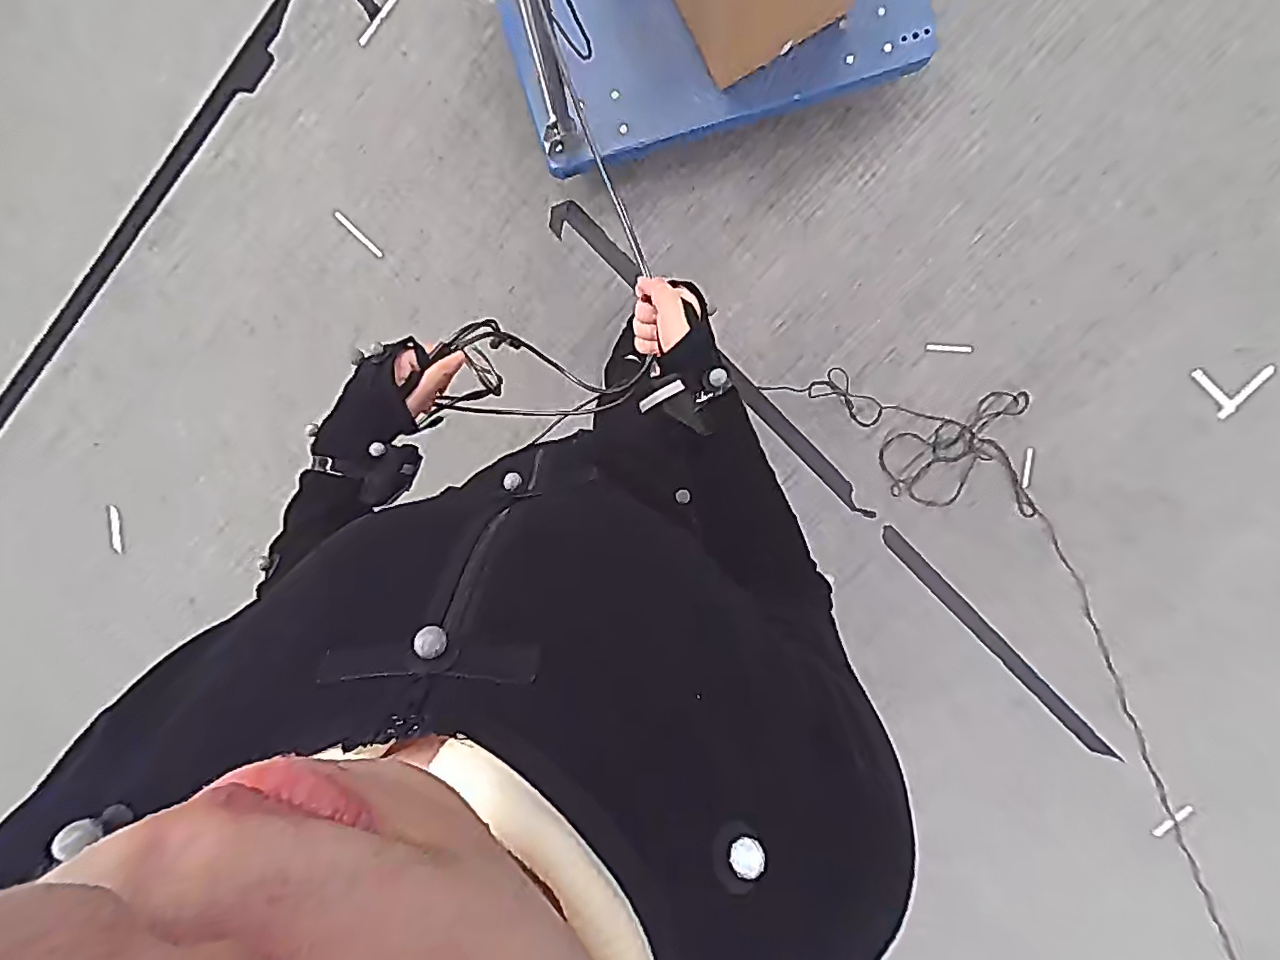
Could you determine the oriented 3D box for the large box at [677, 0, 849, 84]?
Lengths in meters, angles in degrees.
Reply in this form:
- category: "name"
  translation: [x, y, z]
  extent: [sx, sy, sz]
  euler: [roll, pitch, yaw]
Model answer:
- category: "large box"
  translation: [0.201, -1.049, 0.959]
  extent: [0.320, 0.320, 0.408]
  euler: [-30, 99, 6]
